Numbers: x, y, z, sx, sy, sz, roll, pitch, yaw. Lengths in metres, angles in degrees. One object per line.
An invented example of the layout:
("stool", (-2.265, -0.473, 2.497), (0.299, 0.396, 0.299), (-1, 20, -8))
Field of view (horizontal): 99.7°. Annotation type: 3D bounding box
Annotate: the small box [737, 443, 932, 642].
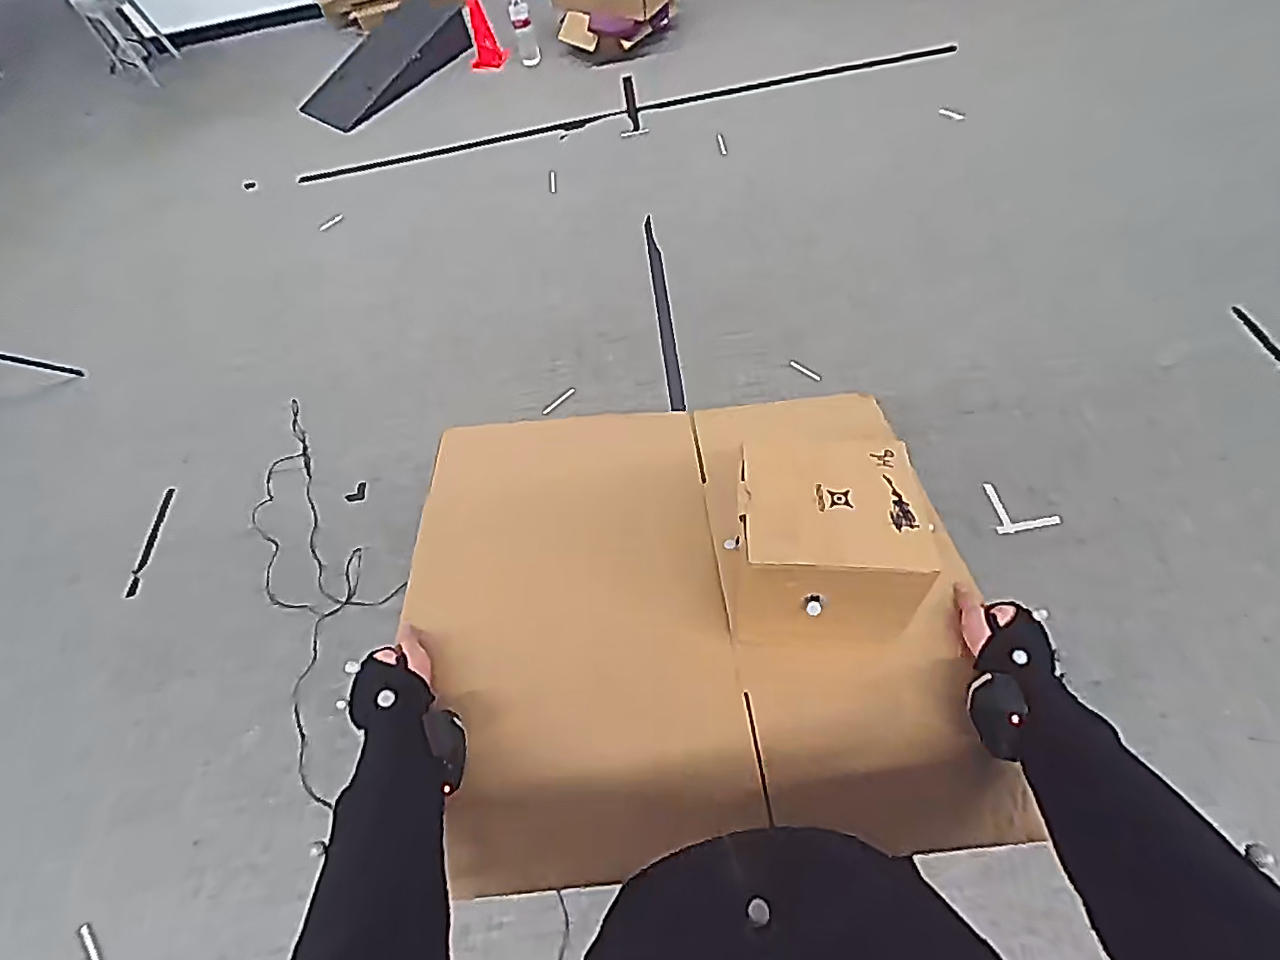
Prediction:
("small box", (0.201, 0.074, 0.619), (0.179, 0.176, 0.168), (0, 51, 8))
